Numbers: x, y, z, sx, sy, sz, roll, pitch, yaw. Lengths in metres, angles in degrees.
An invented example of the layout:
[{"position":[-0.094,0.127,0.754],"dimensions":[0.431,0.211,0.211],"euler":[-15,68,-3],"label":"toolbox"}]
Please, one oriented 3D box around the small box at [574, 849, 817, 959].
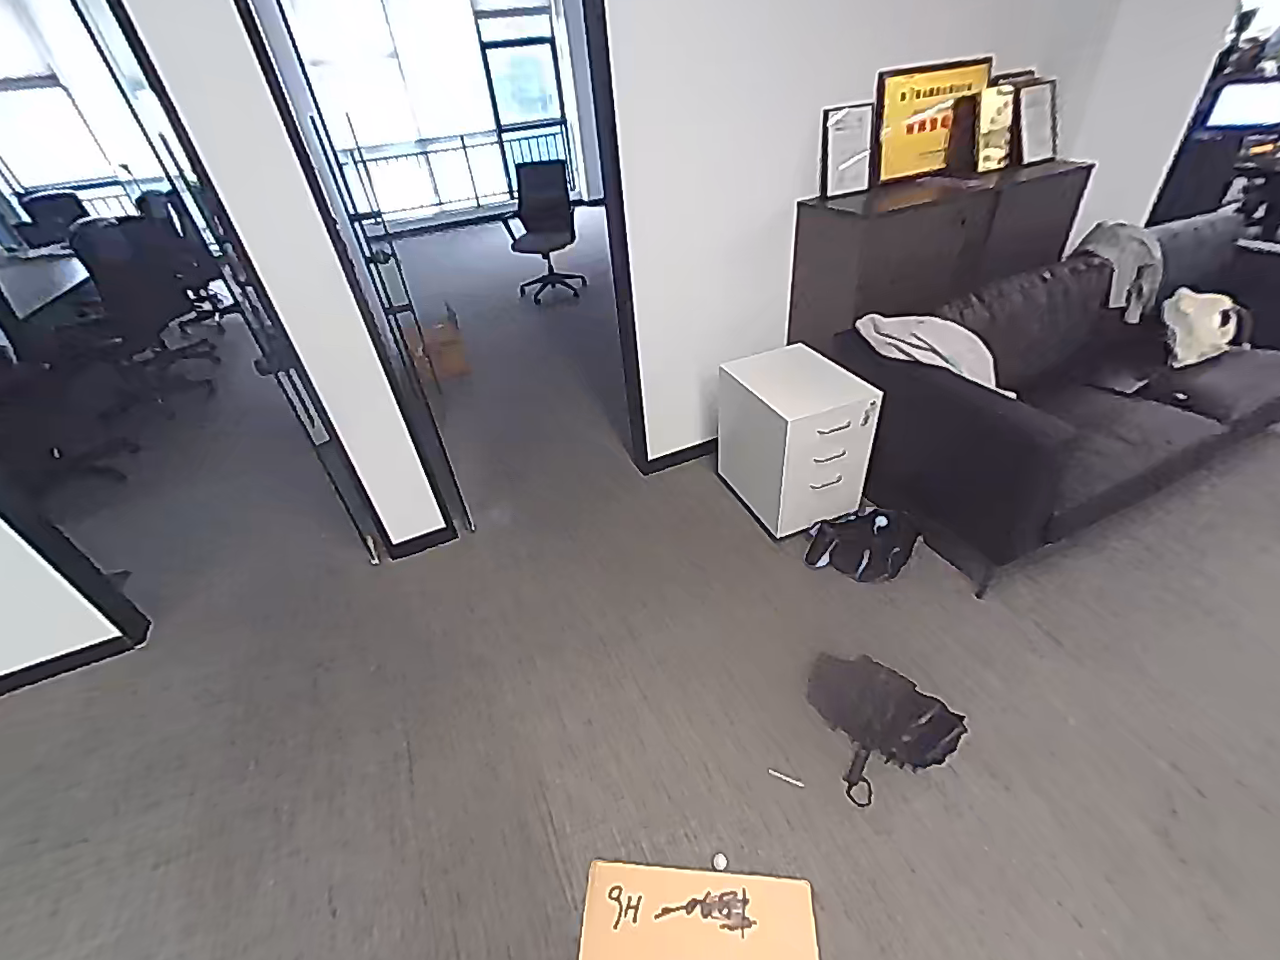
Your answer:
[{"position":[0.035,0.399,0.401],"dimensions":[0.168,0.176,0.179],"euler":[4,47,2],"label":"small box"}]
